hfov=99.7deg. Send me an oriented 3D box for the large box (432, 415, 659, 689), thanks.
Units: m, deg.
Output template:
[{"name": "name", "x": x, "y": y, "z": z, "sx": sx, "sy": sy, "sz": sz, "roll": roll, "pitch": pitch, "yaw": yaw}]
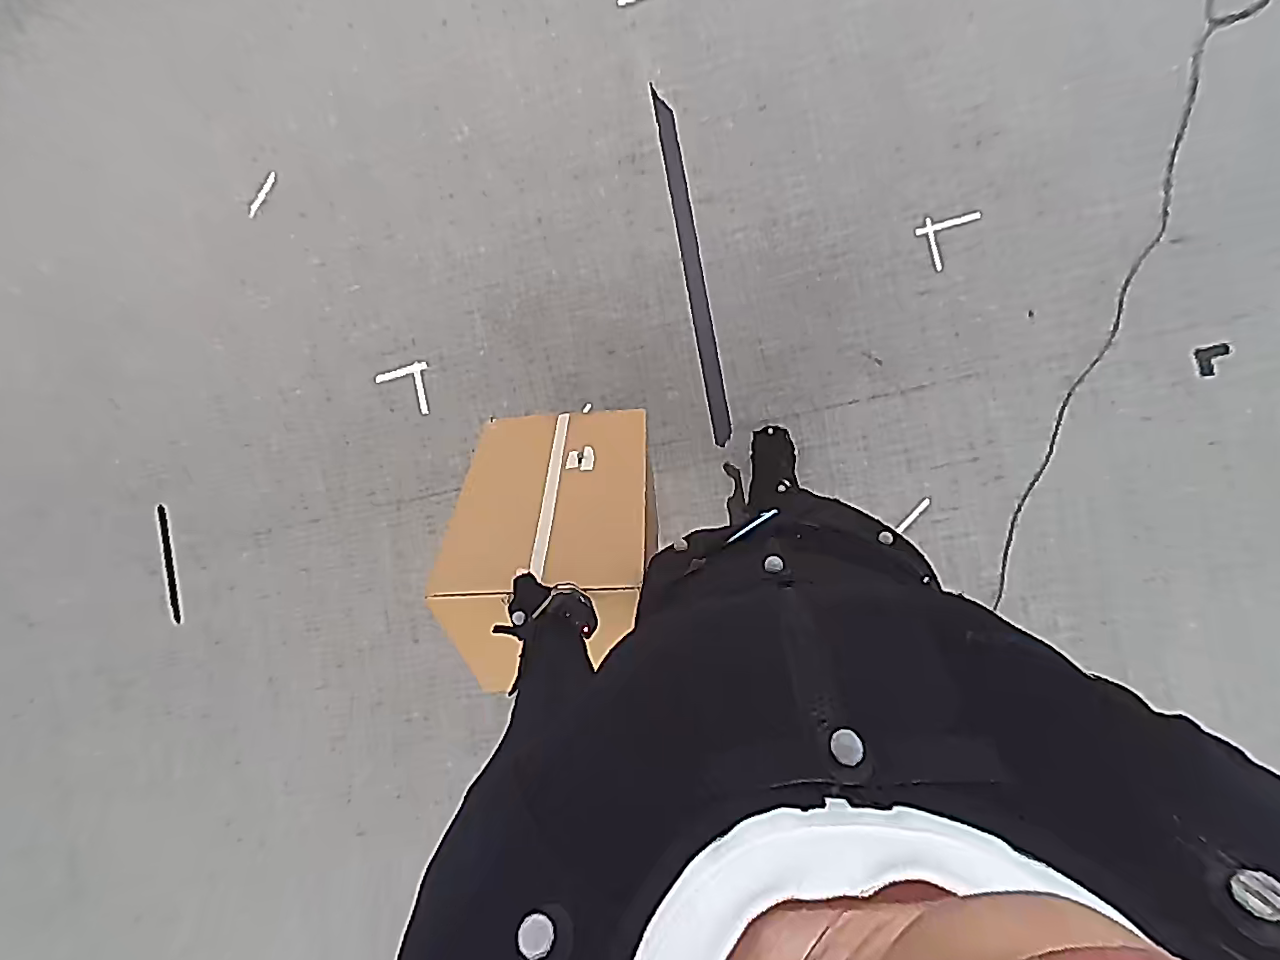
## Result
[{"name": "large box", "x": -0.134, "y": 0.128, "z": 1.010, "sx": 0.320, "sy": 0.320, "sz": 0.408, "roll": -3, "pitch": 43, "yaw": 5}]
